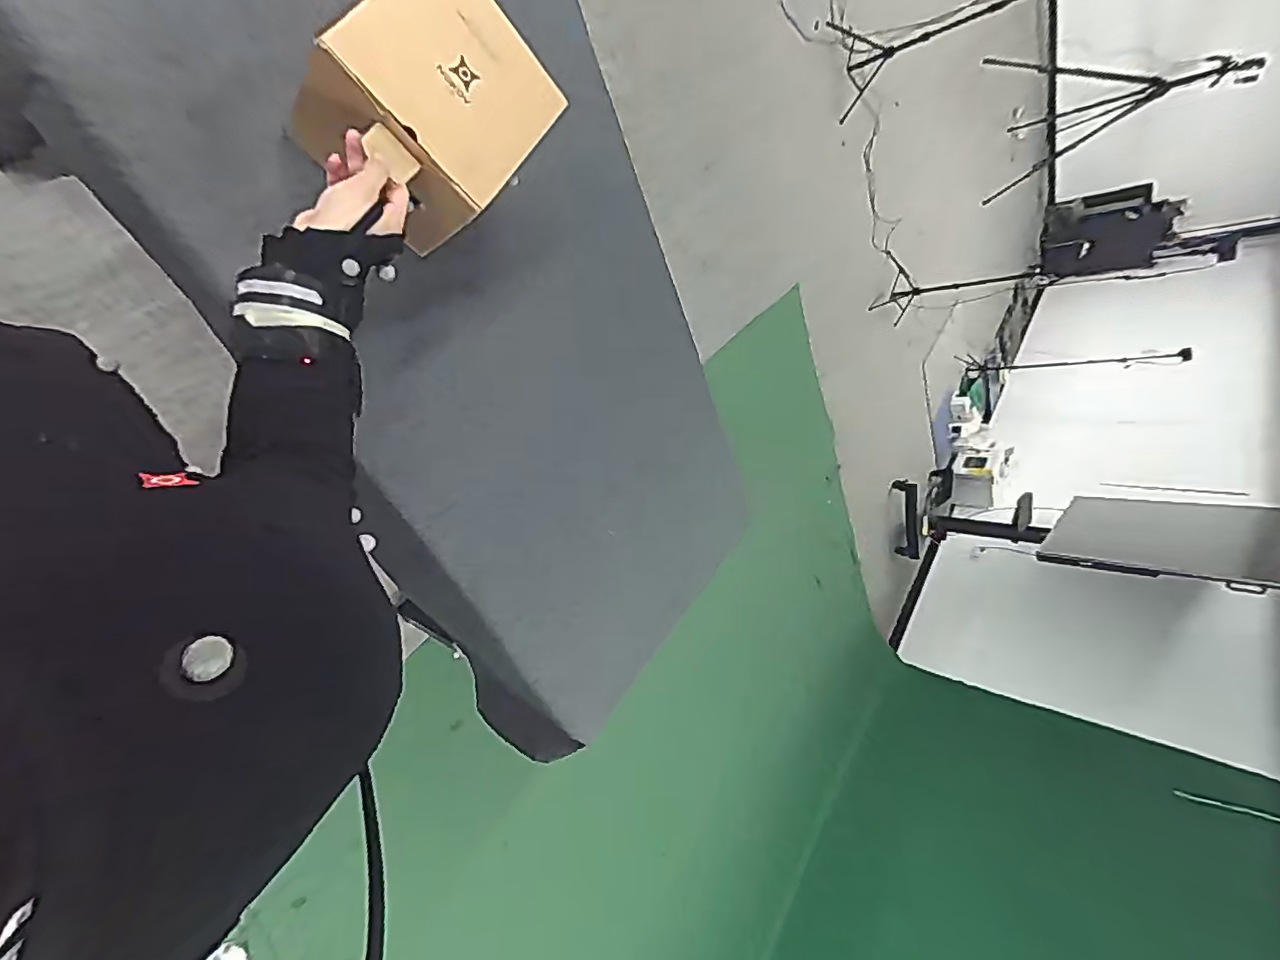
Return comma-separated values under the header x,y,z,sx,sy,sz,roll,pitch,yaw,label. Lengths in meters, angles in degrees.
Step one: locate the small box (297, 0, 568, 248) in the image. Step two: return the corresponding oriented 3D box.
x,y,z,sx,sy,sz,roll,pitch,yaw,label
-0.212,-0.370,0.547,0.168,0.176,0.179,42,65,-37,small box
